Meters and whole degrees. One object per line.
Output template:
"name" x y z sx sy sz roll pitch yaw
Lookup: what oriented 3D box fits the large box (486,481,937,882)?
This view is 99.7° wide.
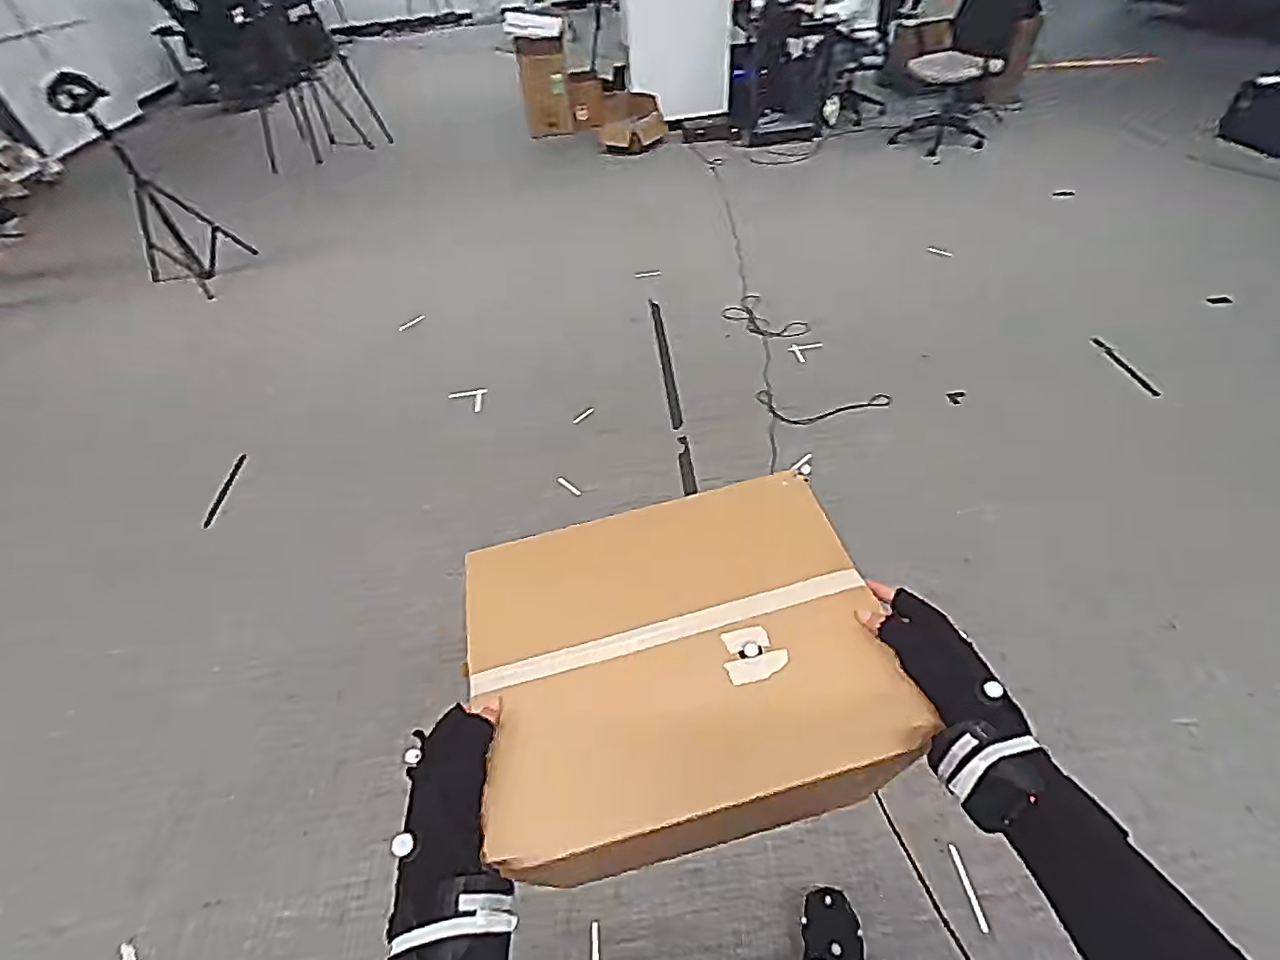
"large box" 0.056 0.255 0.676 0.408 0.320 0.320 -14 52 -4
